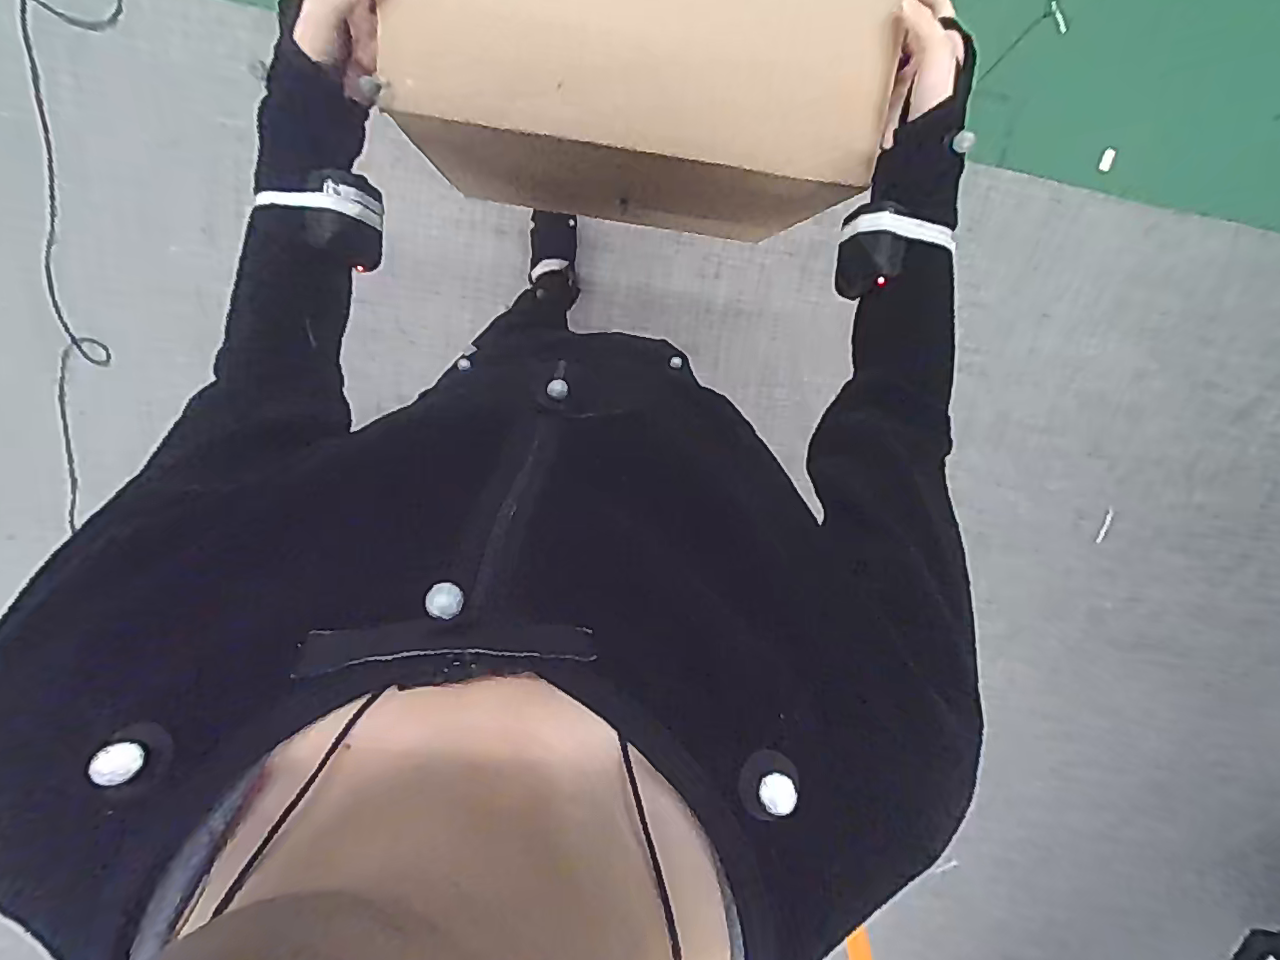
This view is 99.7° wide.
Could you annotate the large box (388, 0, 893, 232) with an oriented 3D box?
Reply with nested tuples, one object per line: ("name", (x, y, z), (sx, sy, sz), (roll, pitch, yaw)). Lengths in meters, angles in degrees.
("large box", (0.002, -0.462, 0.555), (0.408, 0.320, 0.320), (5, 105, -7))
